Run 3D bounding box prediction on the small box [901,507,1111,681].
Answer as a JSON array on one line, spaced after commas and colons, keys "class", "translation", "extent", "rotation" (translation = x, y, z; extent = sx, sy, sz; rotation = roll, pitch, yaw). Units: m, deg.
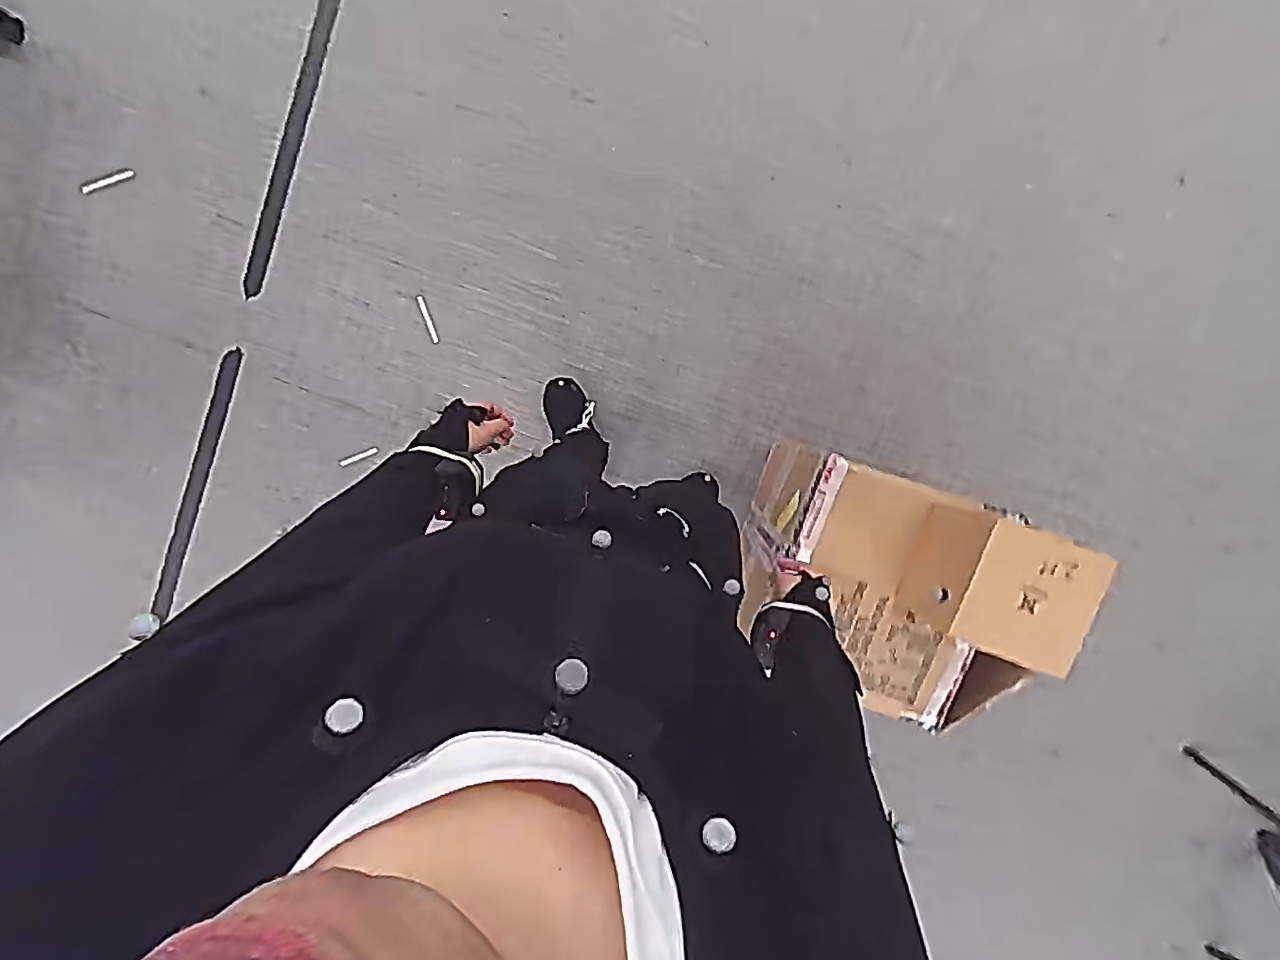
[{"class": "small box", "translation": [0.512, 0.153, 0.791], "extent": [0.168, 0.176, 0.179], "rotation": [21, 95, 1]}]
